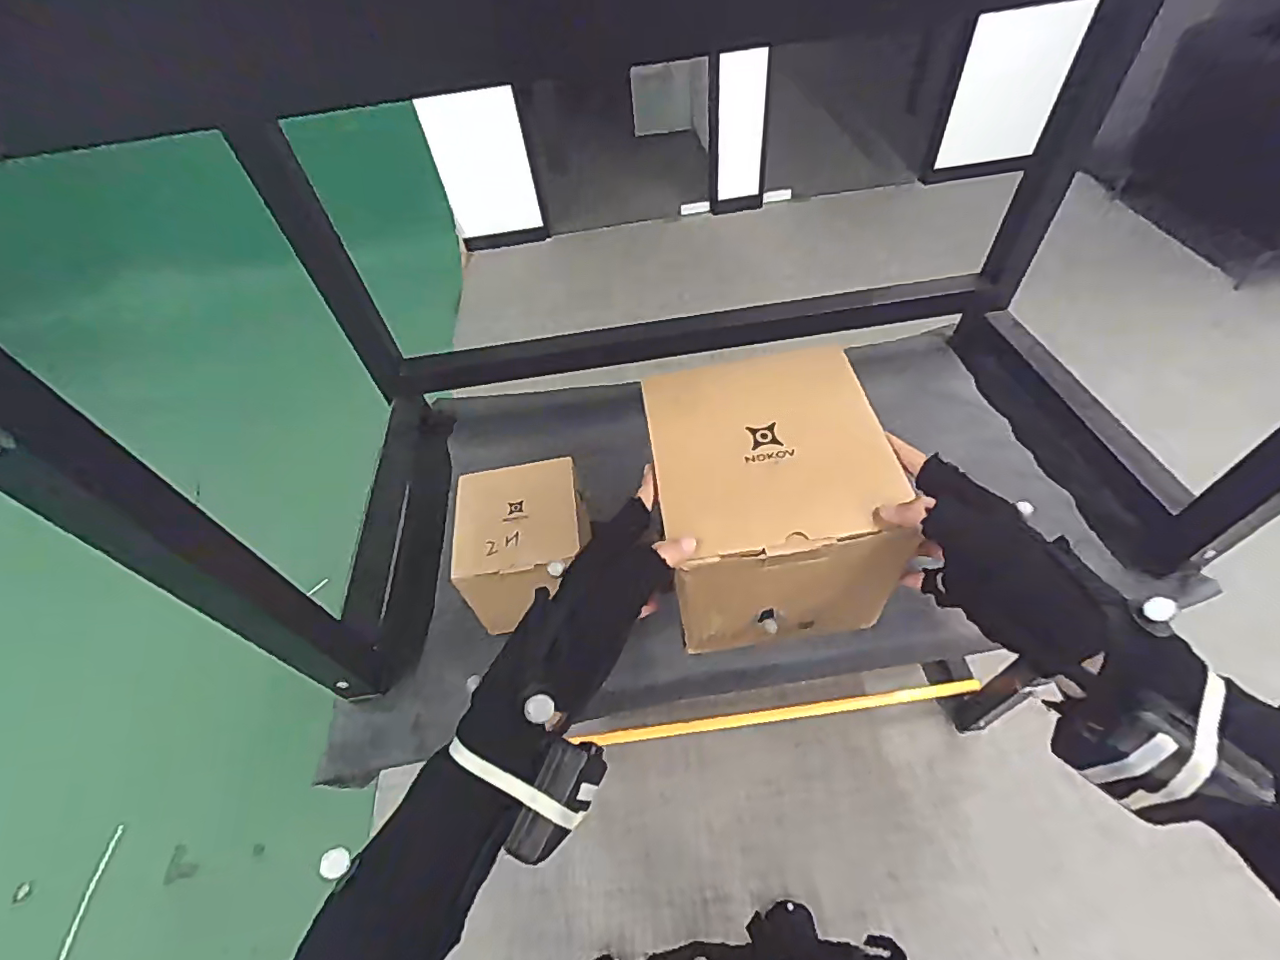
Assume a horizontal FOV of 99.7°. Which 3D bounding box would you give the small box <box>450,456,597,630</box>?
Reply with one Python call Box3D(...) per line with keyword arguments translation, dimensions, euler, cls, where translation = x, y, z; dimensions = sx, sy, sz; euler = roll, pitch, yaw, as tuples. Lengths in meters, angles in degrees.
Box3D(translation=(-0.161, 0.094, 0.790), dimensions=(0.168, 0.176, 0.179), euler=(-10, 50, -1), cls="small box")
